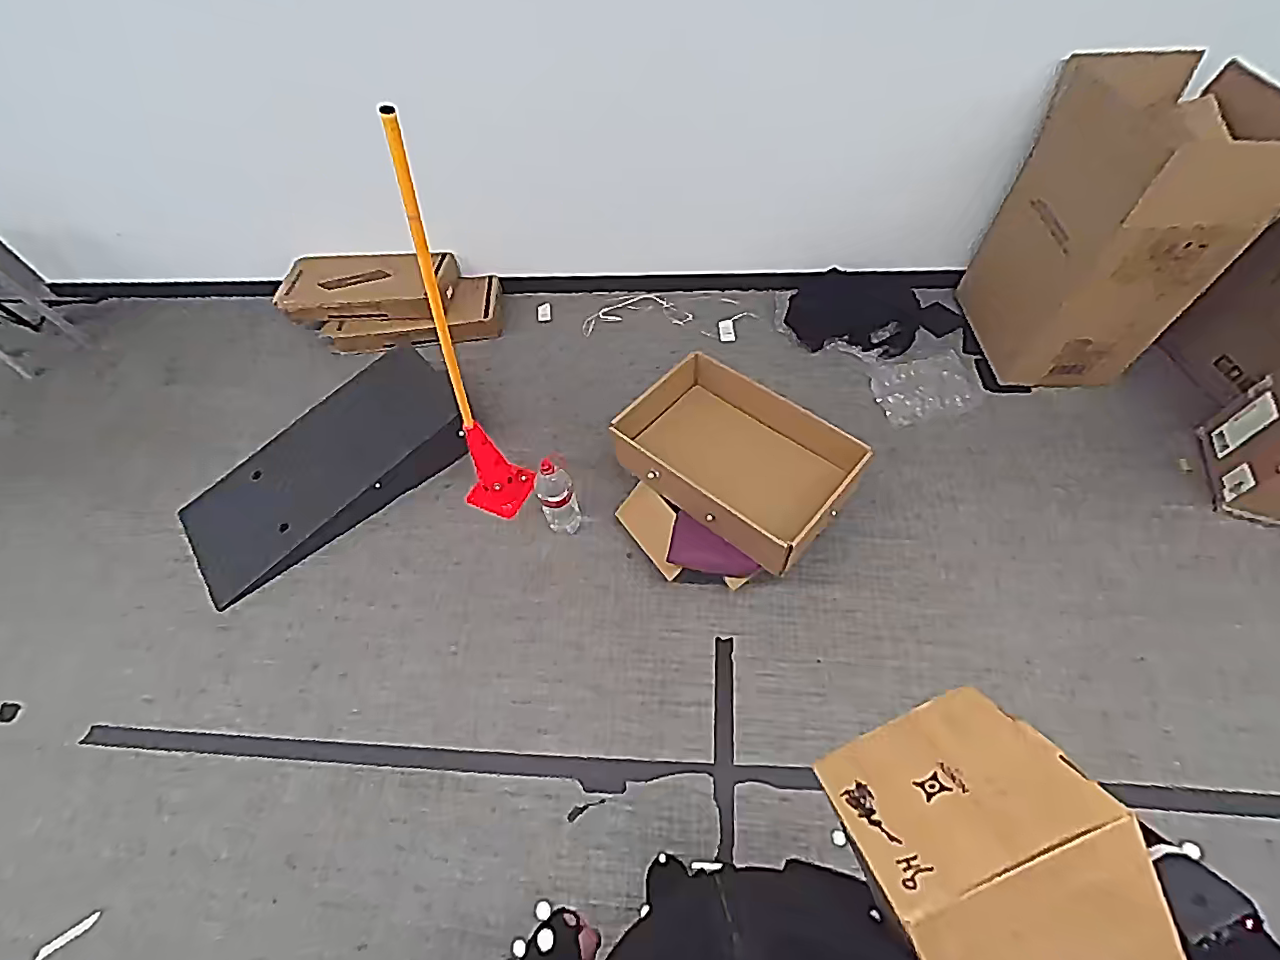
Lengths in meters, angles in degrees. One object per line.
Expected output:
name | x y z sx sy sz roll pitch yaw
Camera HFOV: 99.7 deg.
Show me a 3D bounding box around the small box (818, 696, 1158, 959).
small box | 0.291 0.334 0.472 0.179 0.168 0.176 -26 99 0
